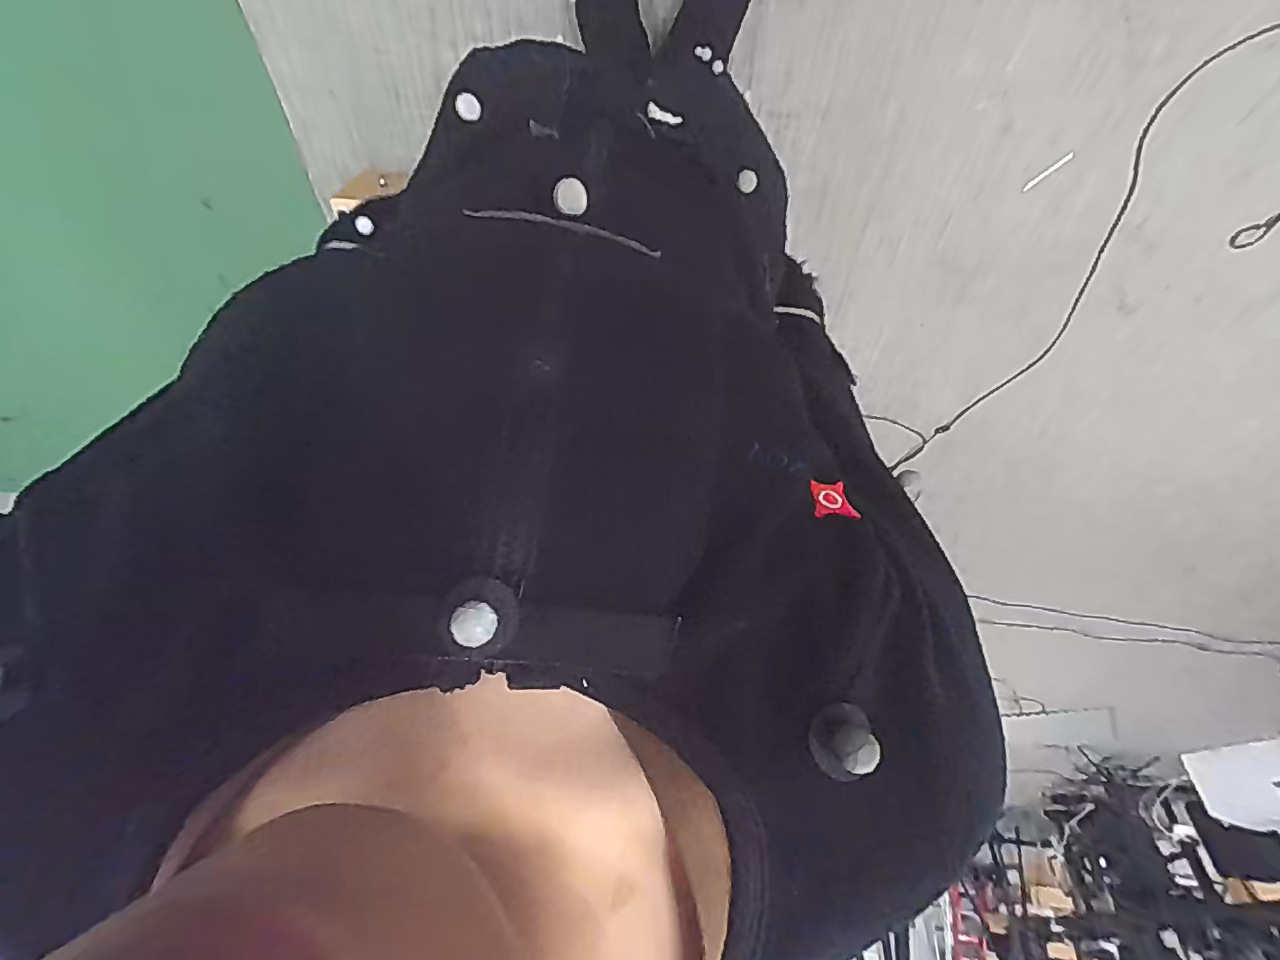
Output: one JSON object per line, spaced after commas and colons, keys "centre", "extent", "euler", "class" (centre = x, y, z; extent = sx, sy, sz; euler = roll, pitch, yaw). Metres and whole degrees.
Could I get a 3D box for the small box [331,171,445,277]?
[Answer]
{"centre": [-0.585, -0.608, 1.279], "extent": [0.168, 0.176, 0.179], "euler": [6, 138, 3], "class": "small box"}
